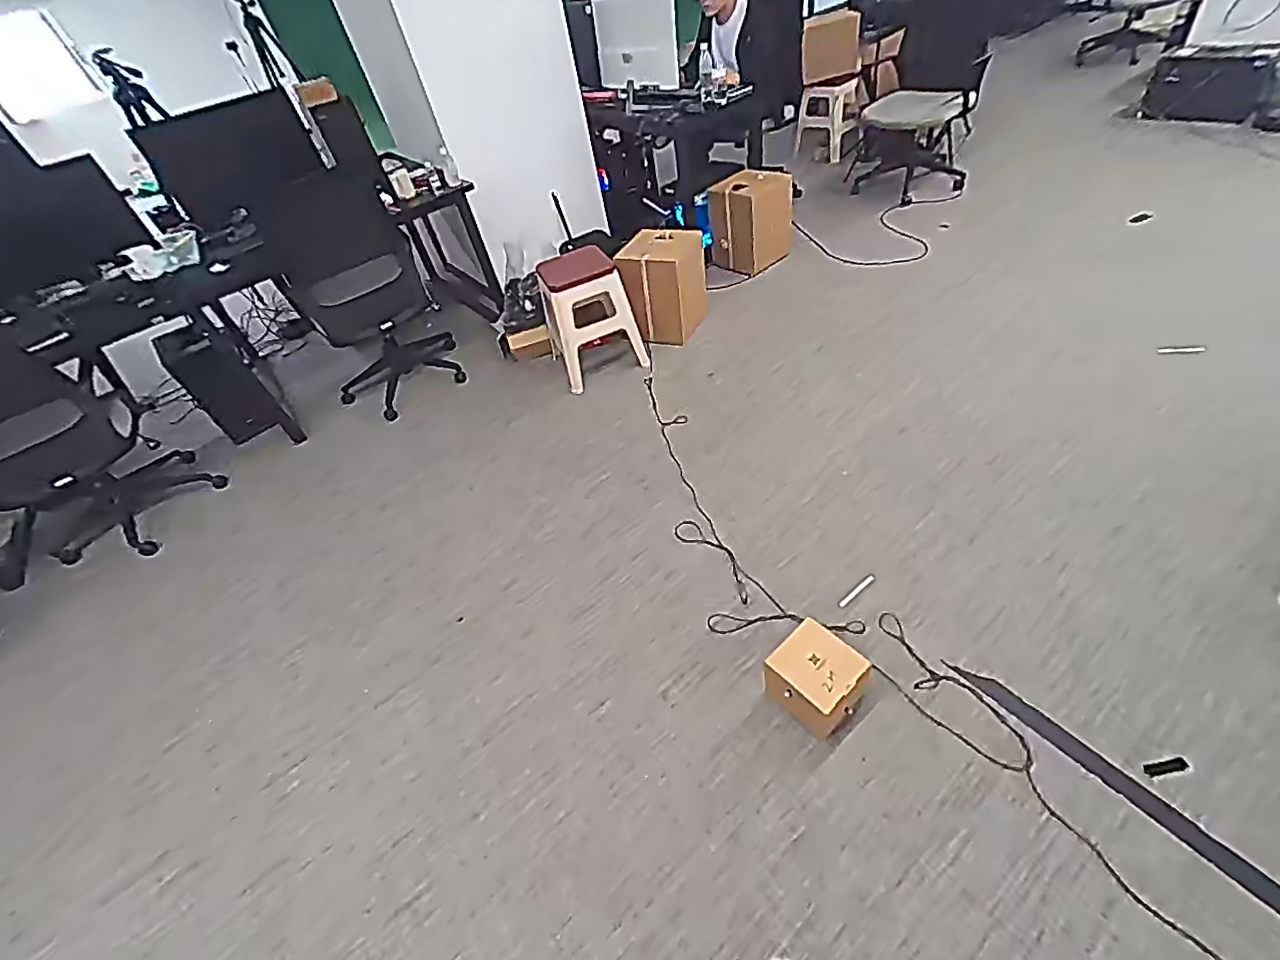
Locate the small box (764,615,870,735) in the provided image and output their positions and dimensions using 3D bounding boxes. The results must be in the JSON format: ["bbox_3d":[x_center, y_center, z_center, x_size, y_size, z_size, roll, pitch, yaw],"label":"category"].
[{"bbox_3d":[0.414,0.465,1.285,0.168,0.176,0.179,-37,49,-20],"label":"small box"}]
